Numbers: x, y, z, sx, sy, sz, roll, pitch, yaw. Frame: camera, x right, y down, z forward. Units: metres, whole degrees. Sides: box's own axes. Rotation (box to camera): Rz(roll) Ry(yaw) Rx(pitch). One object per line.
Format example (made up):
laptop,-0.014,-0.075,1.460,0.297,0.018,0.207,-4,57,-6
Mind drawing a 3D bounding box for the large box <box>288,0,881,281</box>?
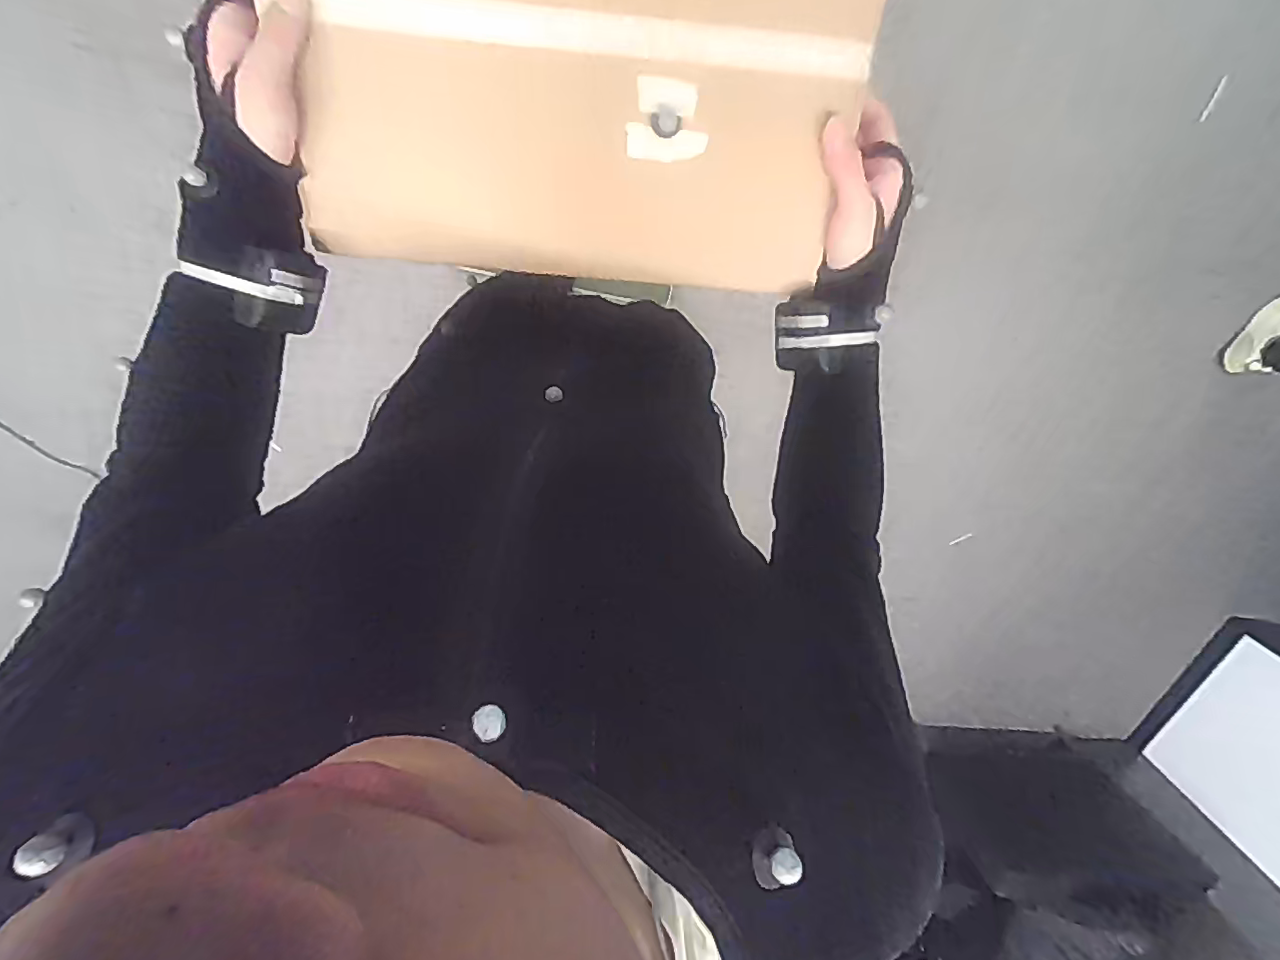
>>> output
large box,-0.043,-0.388,0.497,0.408,0.320,0.320,4,123,-5
